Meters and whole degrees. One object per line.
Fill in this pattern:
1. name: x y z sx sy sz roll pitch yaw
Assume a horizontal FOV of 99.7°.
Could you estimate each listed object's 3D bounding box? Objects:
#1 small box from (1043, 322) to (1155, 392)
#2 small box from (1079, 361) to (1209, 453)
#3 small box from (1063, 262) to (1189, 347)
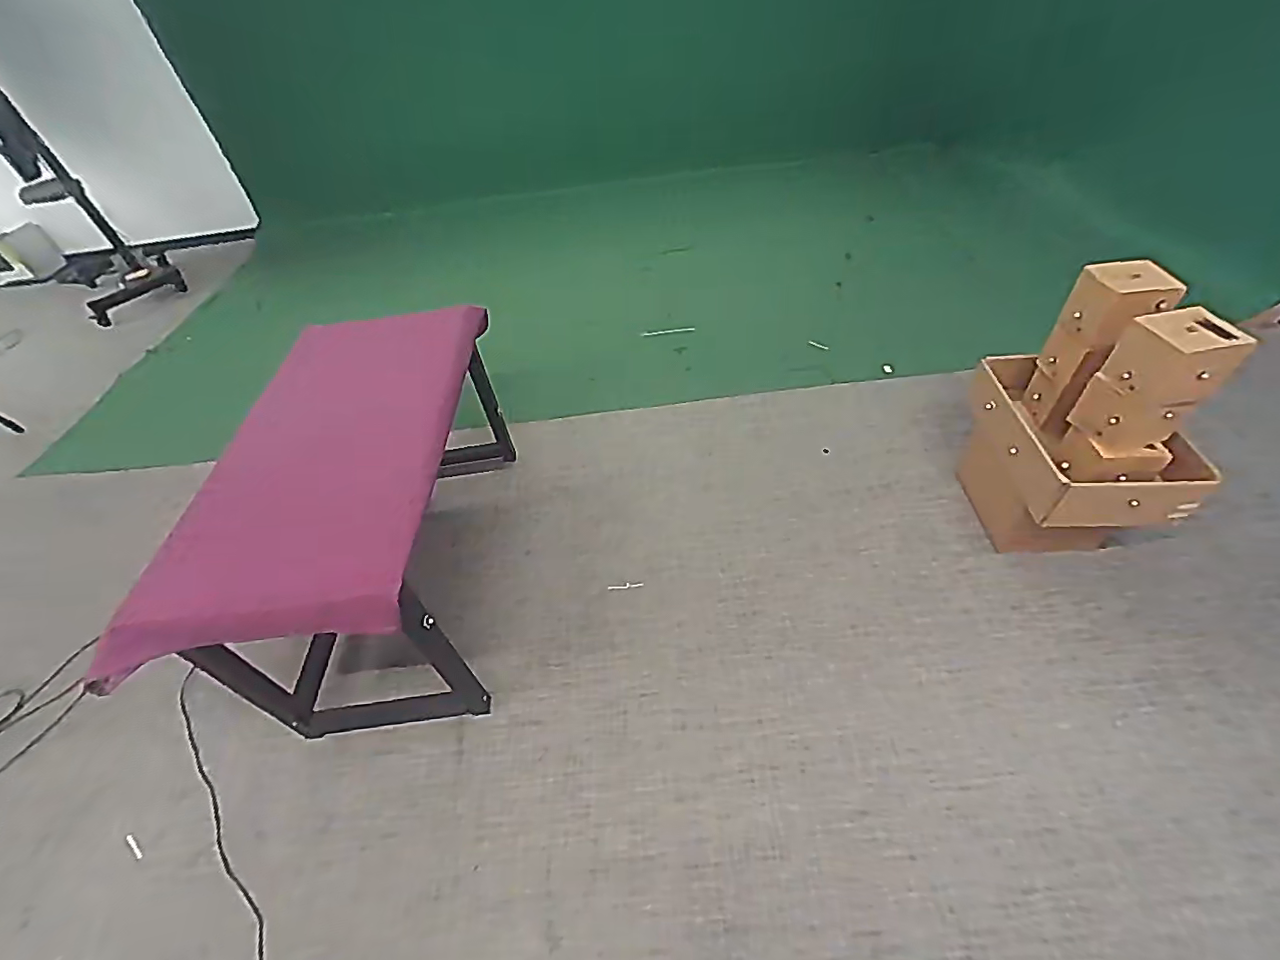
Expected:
1. small box: 1.390 -0.385 1.653 0.179 0.176 0.168 -4 46 5
2. small box: 1.350 -0.196 1.472 0.179 0.176 0.168 -14 46 -6
3. small box: 1.365 -0.497 1.534 0.179 0.176 0.168 -4 45 5
